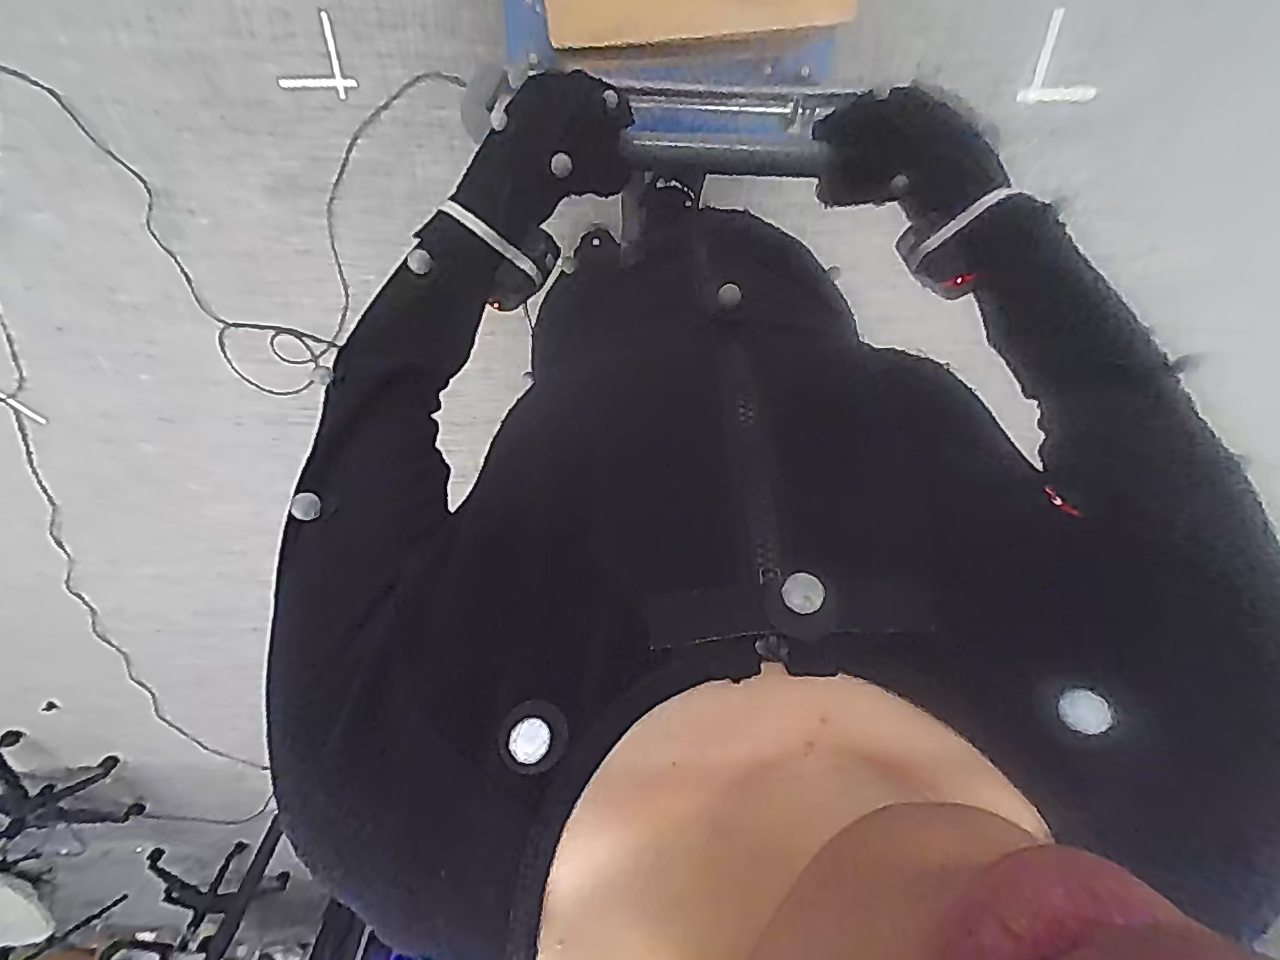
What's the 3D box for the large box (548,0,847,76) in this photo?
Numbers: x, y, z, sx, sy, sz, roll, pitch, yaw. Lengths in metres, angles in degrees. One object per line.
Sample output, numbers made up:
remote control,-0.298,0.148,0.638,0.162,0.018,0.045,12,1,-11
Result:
large box,0.055,-0.806,0.776,0.408,0.320,0.320,-6,123,-1
